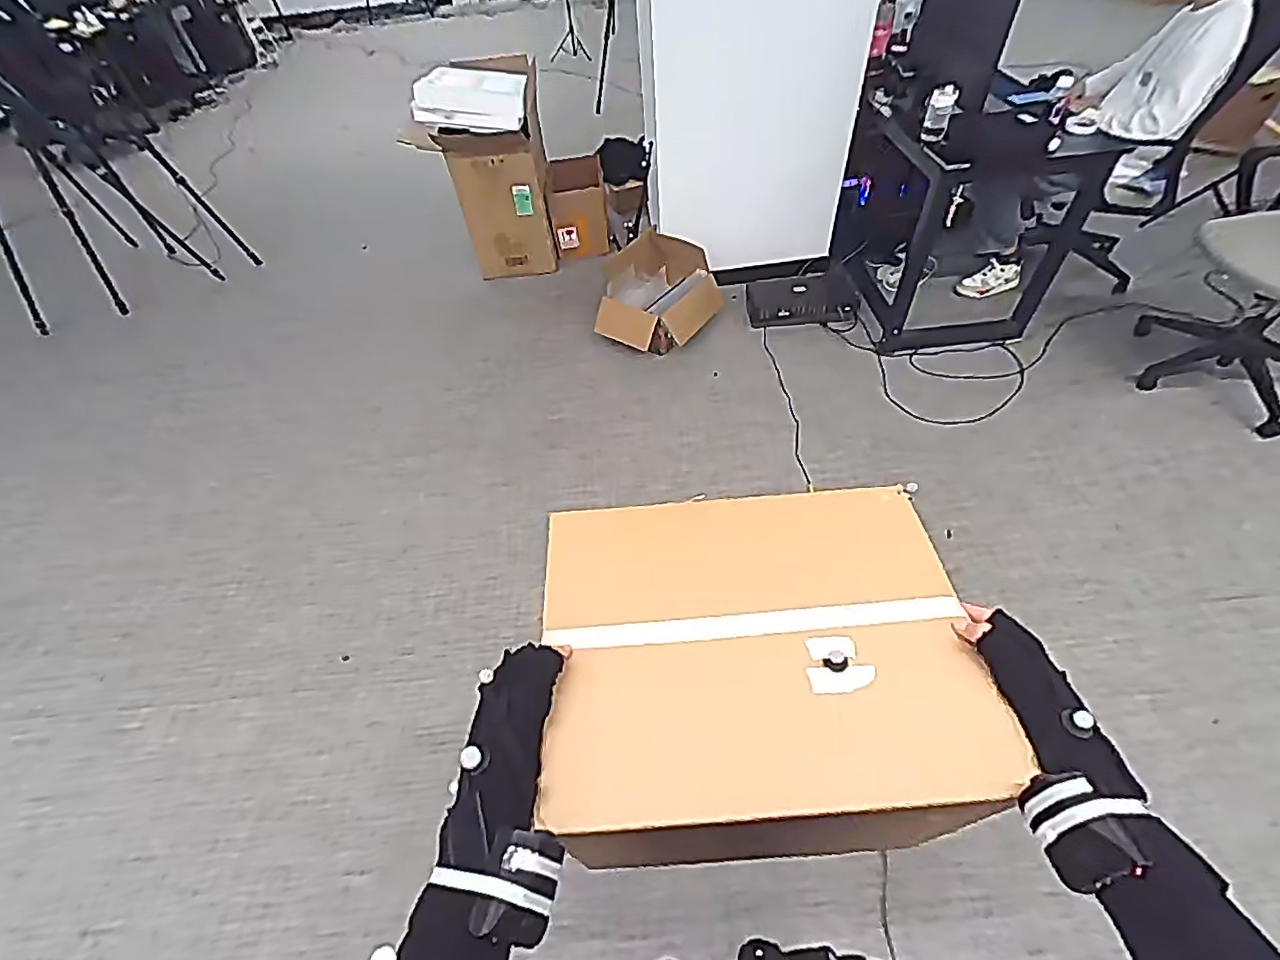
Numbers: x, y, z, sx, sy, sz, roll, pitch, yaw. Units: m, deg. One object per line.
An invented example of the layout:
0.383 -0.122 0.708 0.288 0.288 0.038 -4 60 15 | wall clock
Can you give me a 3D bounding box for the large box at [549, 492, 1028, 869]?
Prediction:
0.119 0.244 0.647 0.408 0.320 0.320 -5 49 0 | large box
